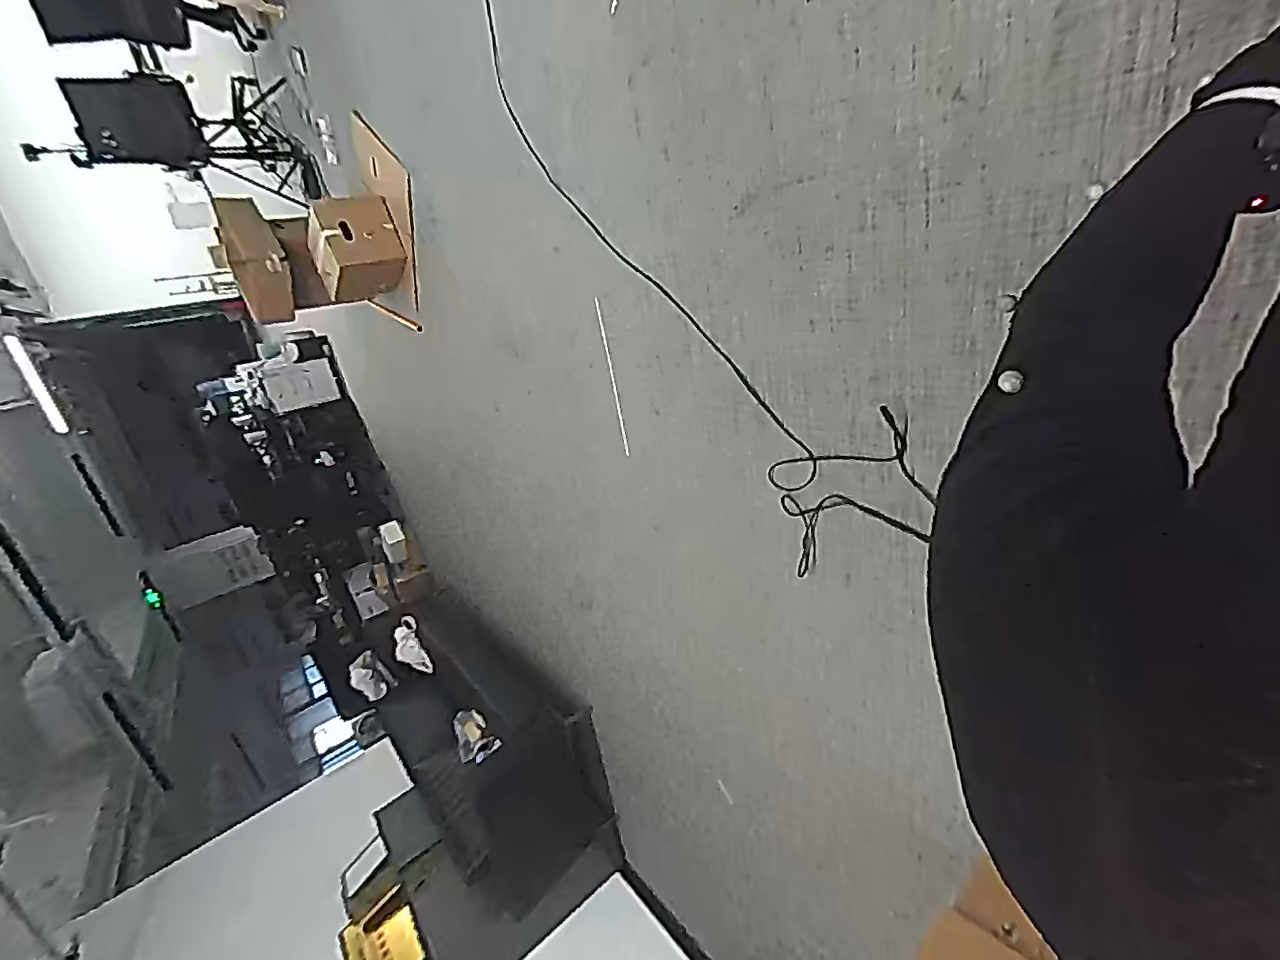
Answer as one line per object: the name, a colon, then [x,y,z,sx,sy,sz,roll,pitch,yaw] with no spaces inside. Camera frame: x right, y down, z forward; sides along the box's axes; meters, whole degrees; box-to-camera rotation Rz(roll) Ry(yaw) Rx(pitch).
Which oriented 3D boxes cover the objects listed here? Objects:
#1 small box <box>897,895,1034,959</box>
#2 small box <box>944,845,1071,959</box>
small box: [0.620,0.947,1.018,0.179,0.176,0.168,5,114,55]
small box: [0.750,0.907,1.107,0.179,0.176,0.168,13,119,52]
